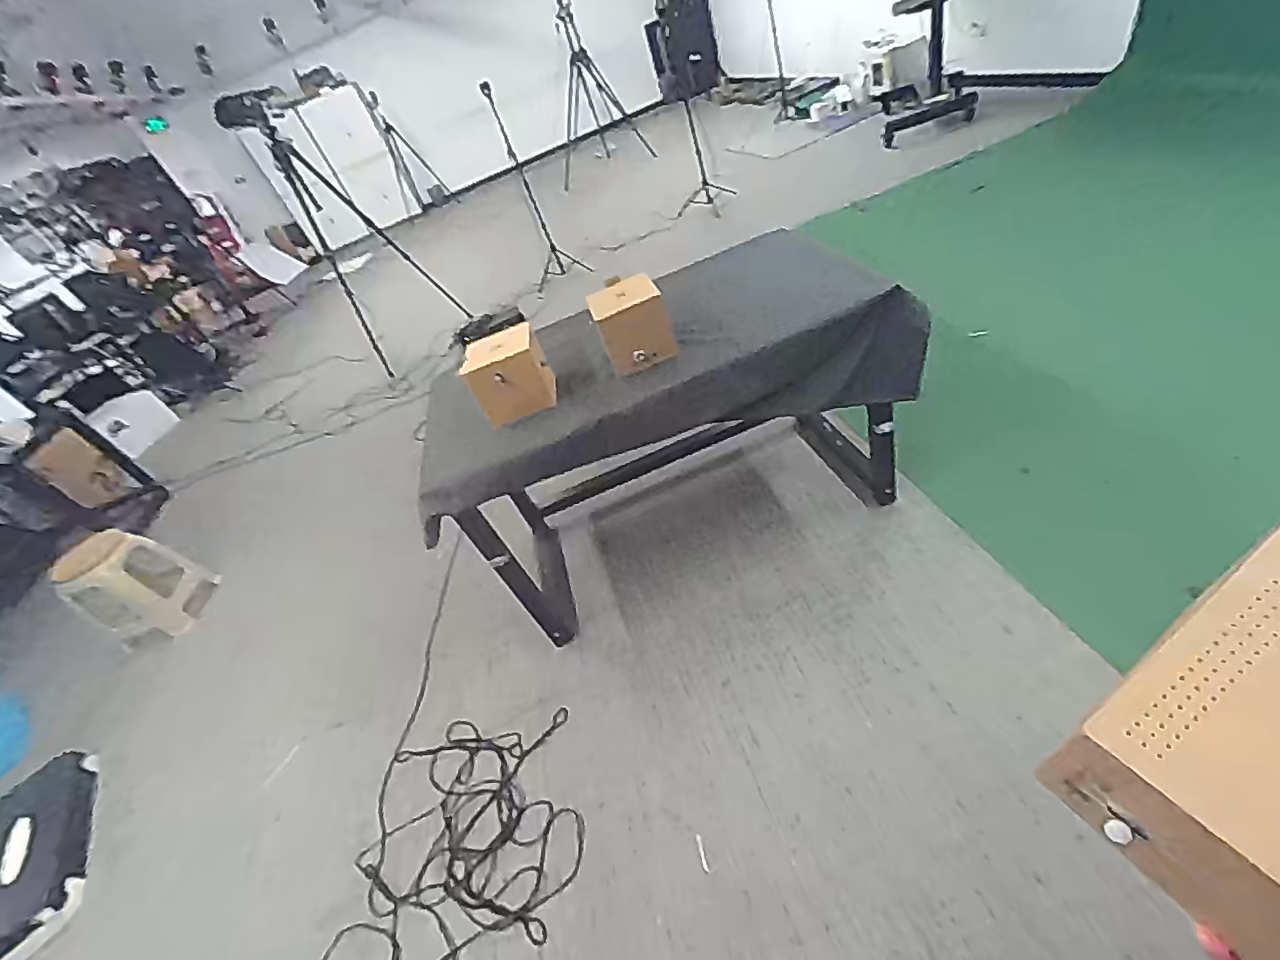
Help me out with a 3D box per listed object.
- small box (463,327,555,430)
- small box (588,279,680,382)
[{"bbox_3d":[-0.320,-0.254,1.364,0.179,0.176,0.168,-19,38,4],"label":"small box"},{"bbox_3d":[-0.016,-0.374,1.357,0.168,0.176,0.179,-23,39,1],"label":"small box"}]
